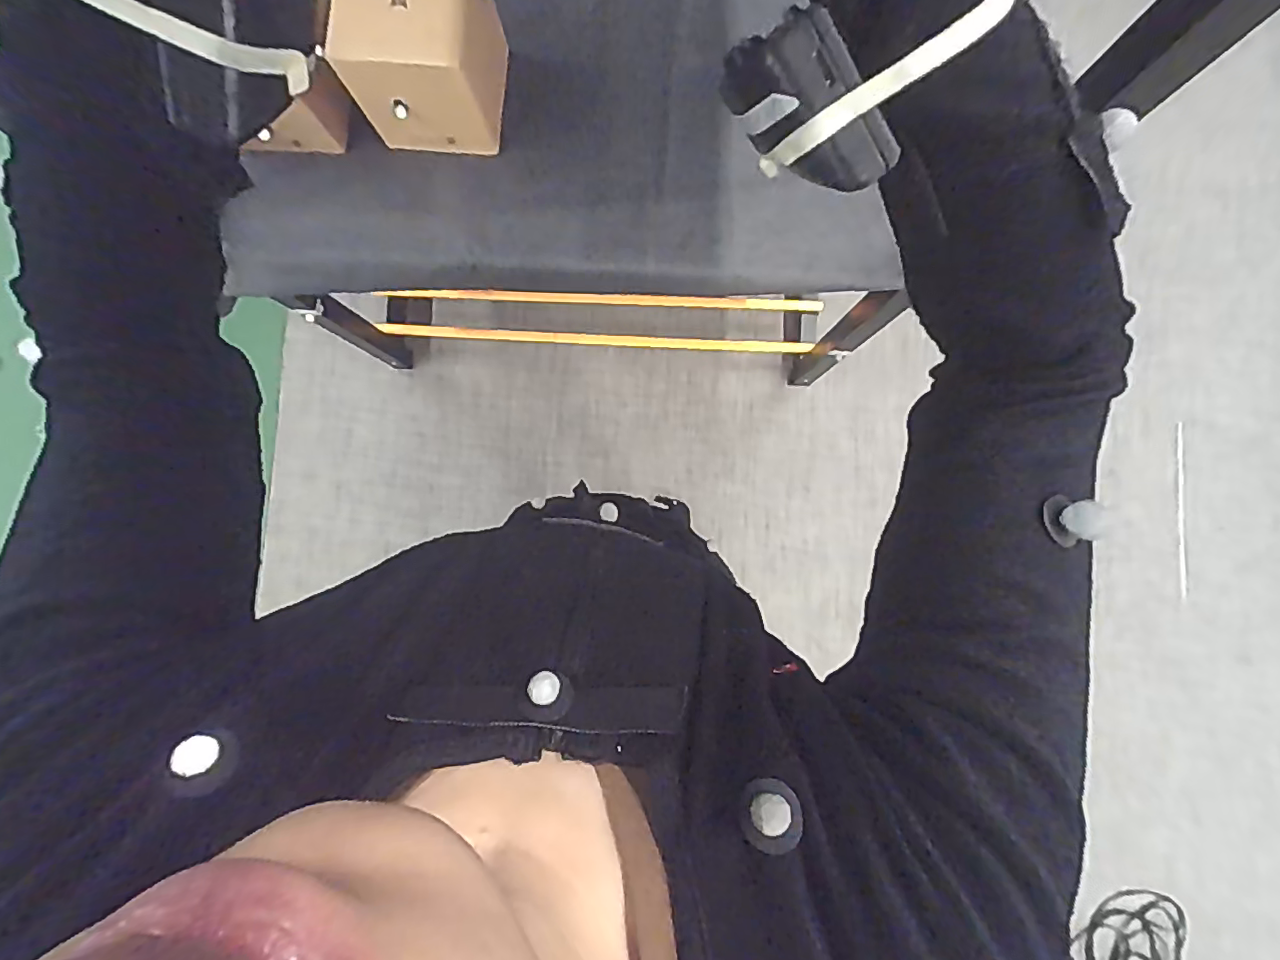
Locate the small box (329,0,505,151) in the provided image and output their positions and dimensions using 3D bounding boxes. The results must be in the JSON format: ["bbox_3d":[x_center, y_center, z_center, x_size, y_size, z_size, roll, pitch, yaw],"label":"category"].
[{"bbox_3d":[-0.288,-0.583,0.735,0.168,0.176,0.179,4,86,0],"label":"small box"}]

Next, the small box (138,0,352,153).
[{"bbox_3d":[-0.516,-0.587,0.734,0.168,0.176,0.179,3,87,0],"label":"small box"}]
